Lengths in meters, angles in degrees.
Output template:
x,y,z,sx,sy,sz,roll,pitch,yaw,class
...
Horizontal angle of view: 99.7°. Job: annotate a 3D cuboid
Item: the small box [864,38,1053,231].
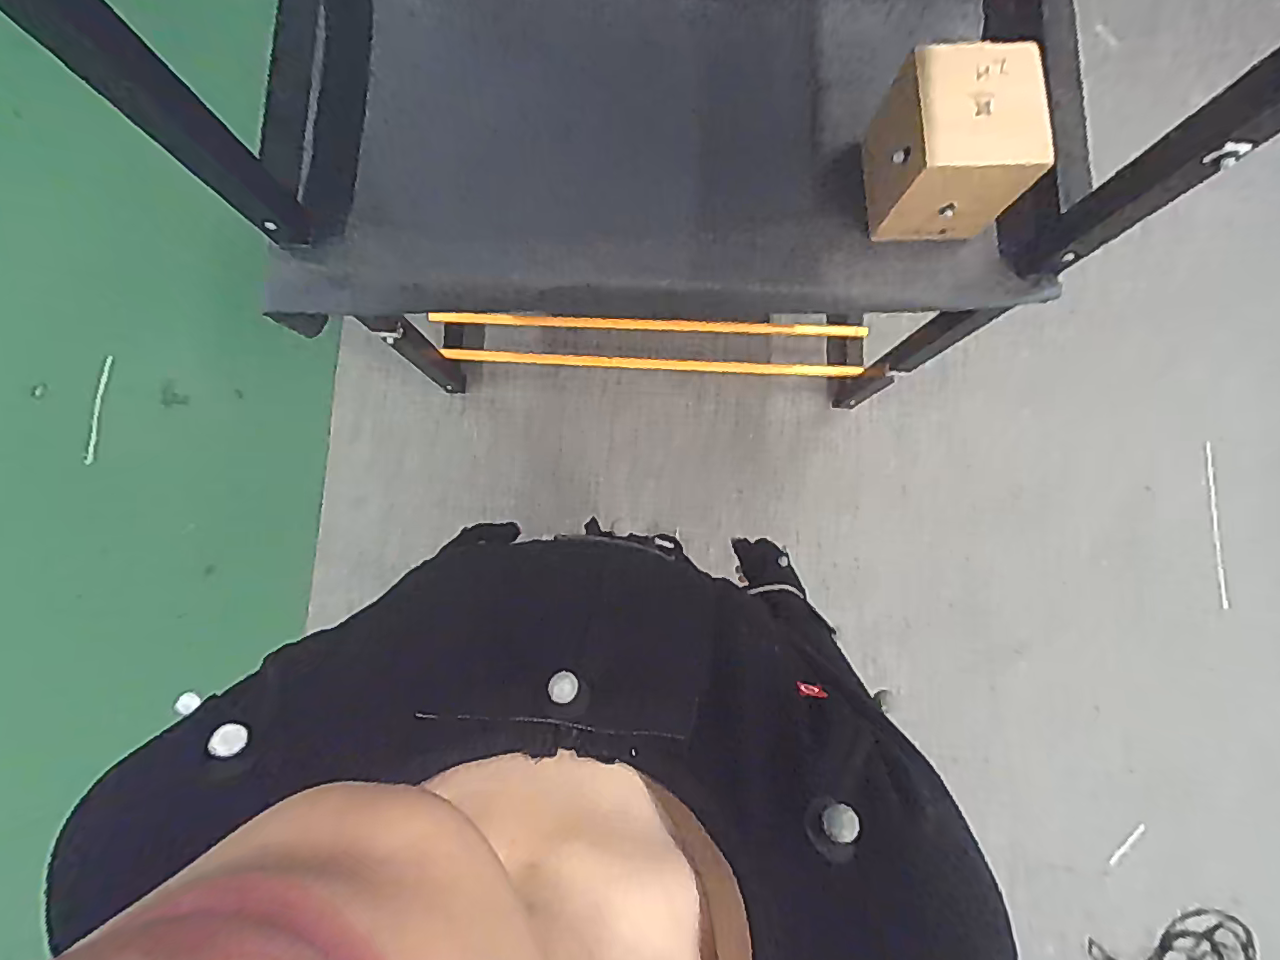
x,y,z,sx,sy,sz,roll,pitch,yaw,class
0.438,-0.477,0.771,0.168,0.176,0.179,-2,83,-1,small box
